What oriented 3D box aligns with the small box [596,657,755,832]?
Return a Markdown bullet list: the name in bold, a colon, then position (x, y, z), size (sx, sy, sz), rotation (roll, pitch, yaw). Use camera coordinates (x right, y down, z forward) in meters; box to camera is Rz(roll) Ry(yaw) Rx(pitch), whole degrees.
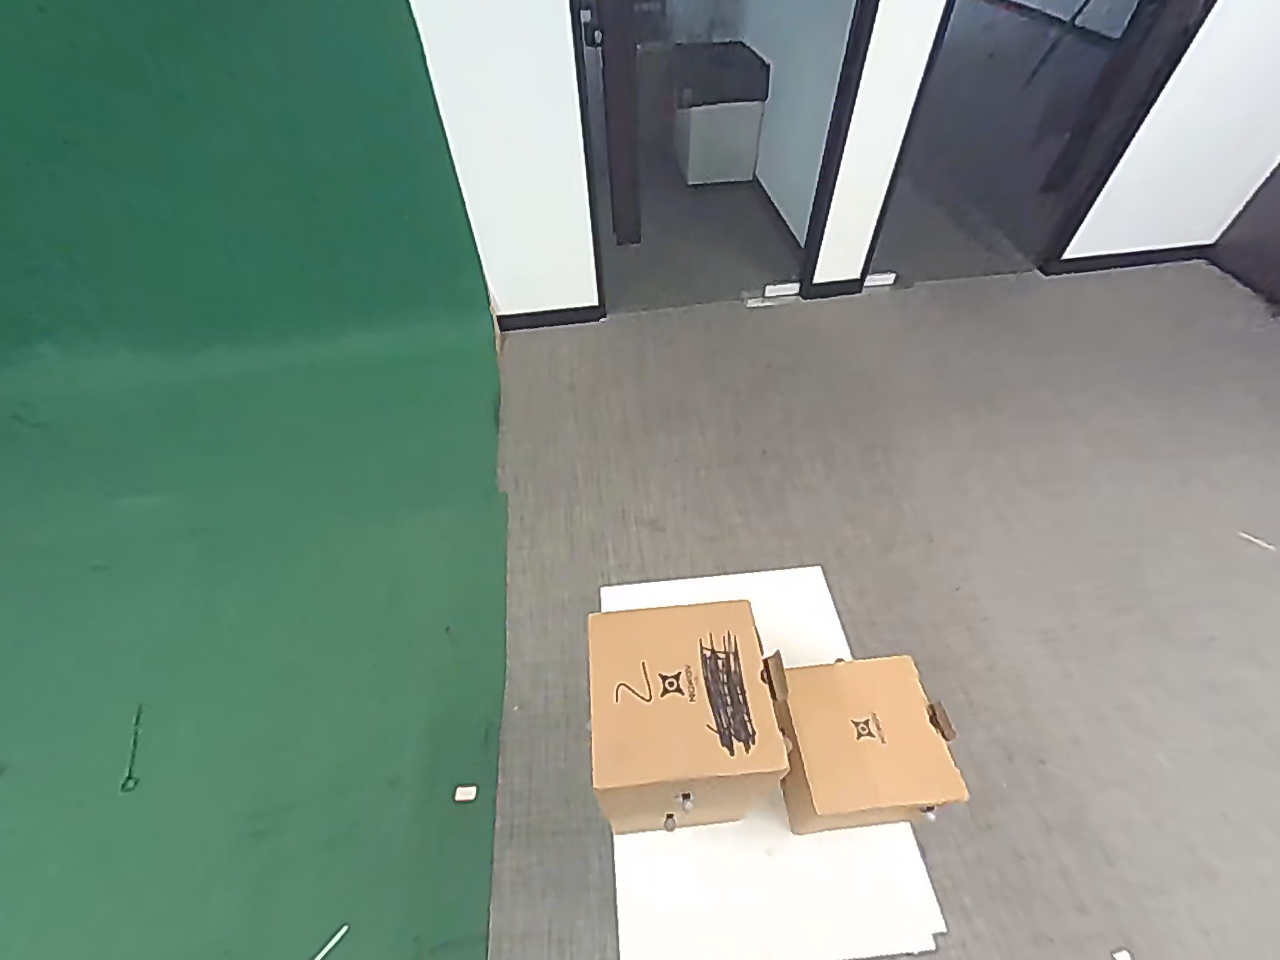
- **small box**: position (0.039, 0.350, 0.711), size (0.179, 0.176, 0.168), rotation (-5, 51, -3)
